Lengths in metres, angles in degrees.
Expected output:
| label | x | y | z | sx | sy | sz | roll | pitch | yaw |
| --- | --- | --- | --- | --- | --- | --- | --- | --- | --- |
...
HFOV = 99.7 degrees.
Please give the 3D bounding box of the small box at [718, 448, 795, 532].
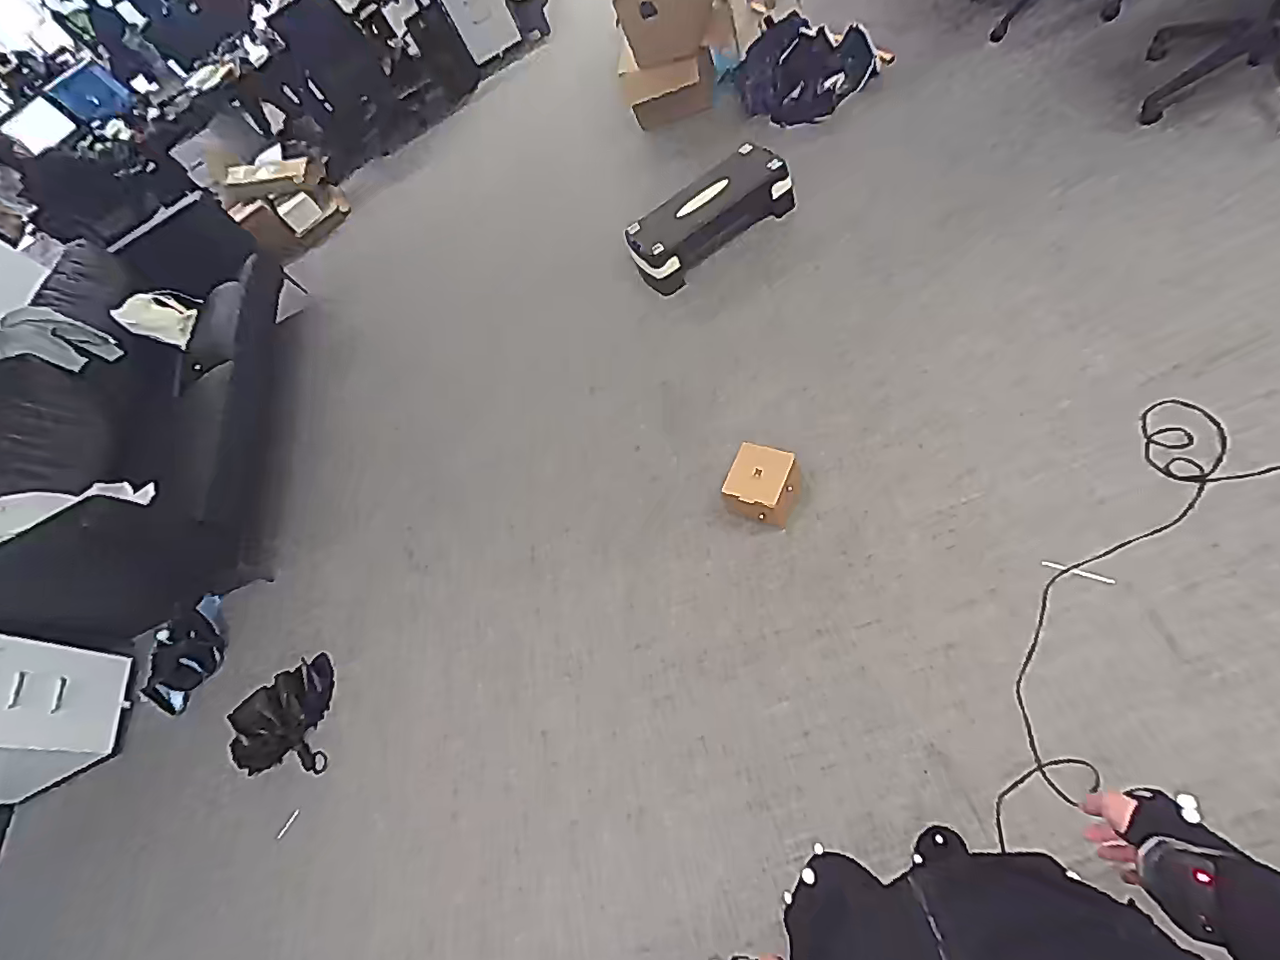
| label | x | y | z | sx | sy | sz | roll | pitch | yaw |
| --- | --- | --- | --- | --- | --- | --- | --- | --- | --- |
| small box | 0.357 | 0.035 | 1.622 | 0.168 | 0.176 | 0.179 | 17 | 68 | 29 |
